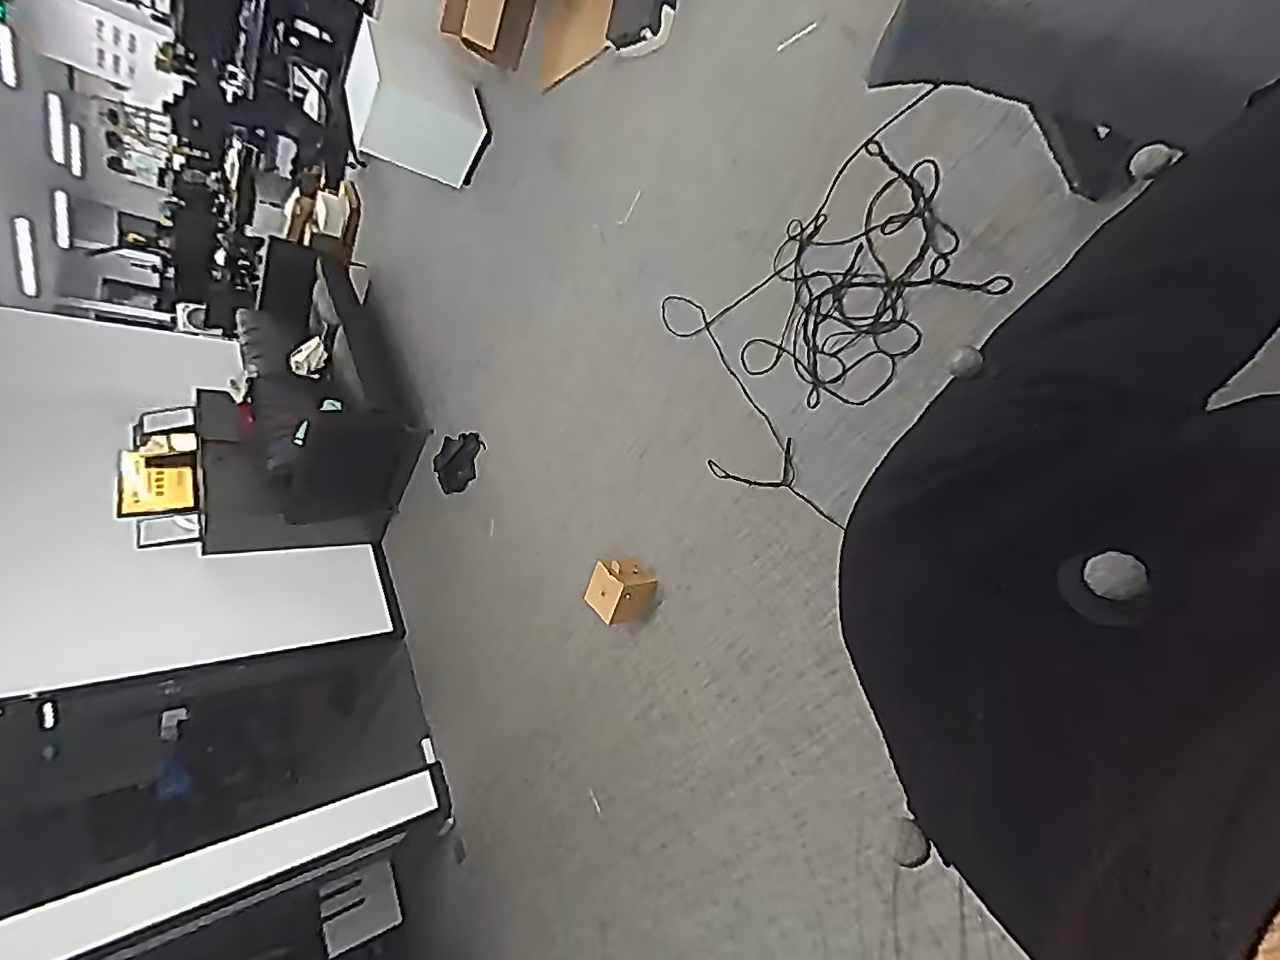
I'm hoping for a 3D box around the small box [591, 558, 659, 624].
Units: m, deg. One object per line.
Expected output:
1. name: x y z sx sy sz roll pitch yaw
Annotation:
1. small box: -0.053 0.409 2.017 0.168 0.176 0.179 38 115 41
